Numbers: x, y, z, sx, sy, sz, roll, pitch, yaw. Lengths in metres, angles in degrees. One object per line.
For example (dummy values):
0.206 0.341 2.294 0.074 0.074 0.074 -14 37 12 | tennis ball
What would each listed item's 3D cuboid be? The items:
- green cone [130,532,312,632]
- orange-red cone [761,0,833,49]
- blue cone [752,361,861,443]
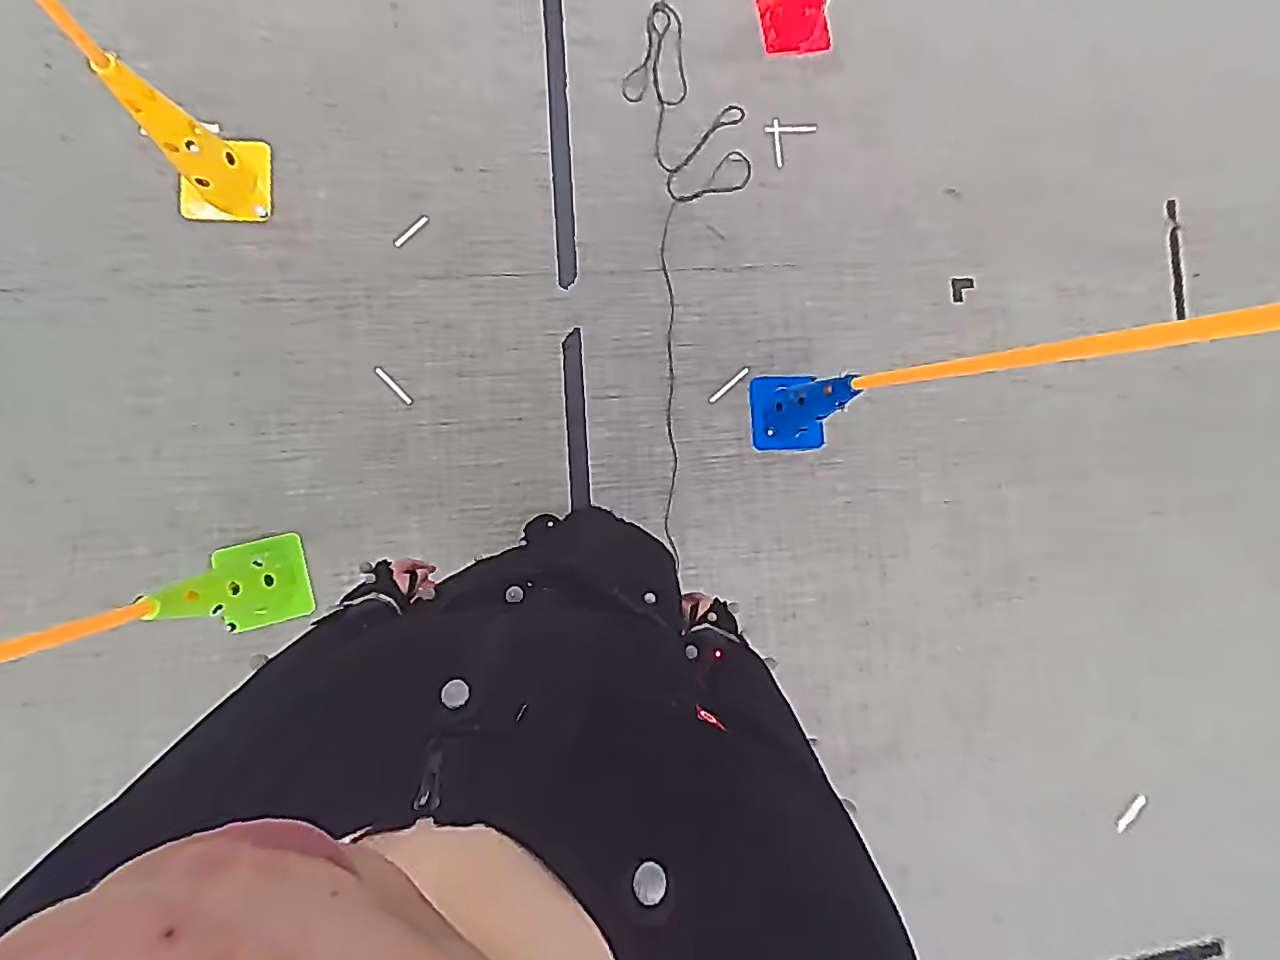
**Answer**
-0.863 0.223 1.095 0.200 0.368 0.202 -14 87 -8 | green cone
0.457 -1.314 1.343 0.199 0.360 0.198 -9 88 -6 | orange-red cone
0.418 -0.205 1.293 0.193 0.380 0.192 -1 86 -7 | blue cone
